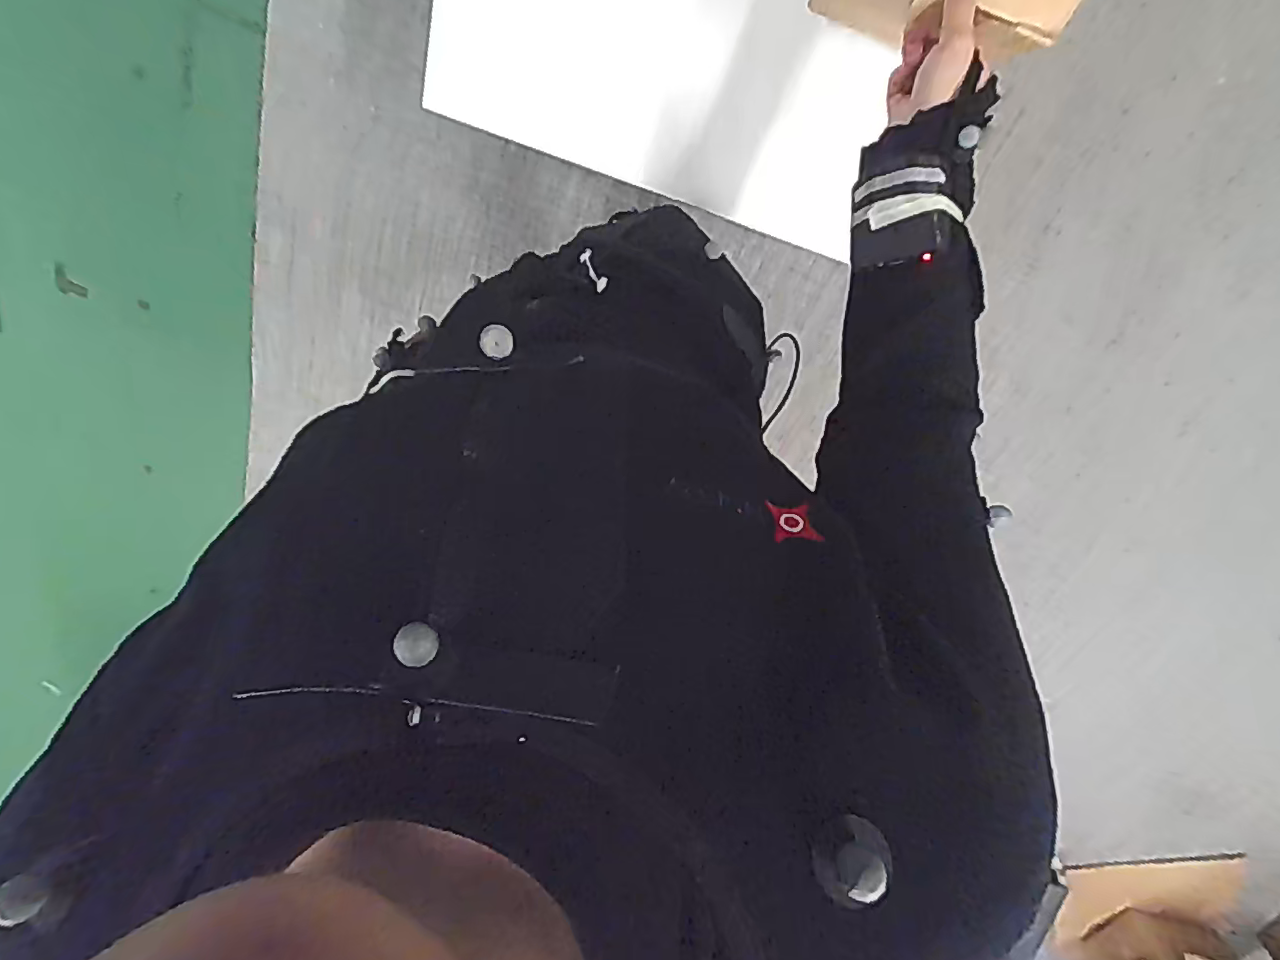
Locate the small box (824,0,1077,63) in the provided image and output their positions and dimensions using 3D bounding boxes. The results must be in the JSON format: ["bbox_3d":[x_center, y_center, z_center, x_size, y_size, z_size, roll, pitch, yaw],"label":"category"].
[{"bbox_3d":[0.247,-0.440,0.394,0.168,0.176,0.179,18,121,-4],"label":"small box"}]
